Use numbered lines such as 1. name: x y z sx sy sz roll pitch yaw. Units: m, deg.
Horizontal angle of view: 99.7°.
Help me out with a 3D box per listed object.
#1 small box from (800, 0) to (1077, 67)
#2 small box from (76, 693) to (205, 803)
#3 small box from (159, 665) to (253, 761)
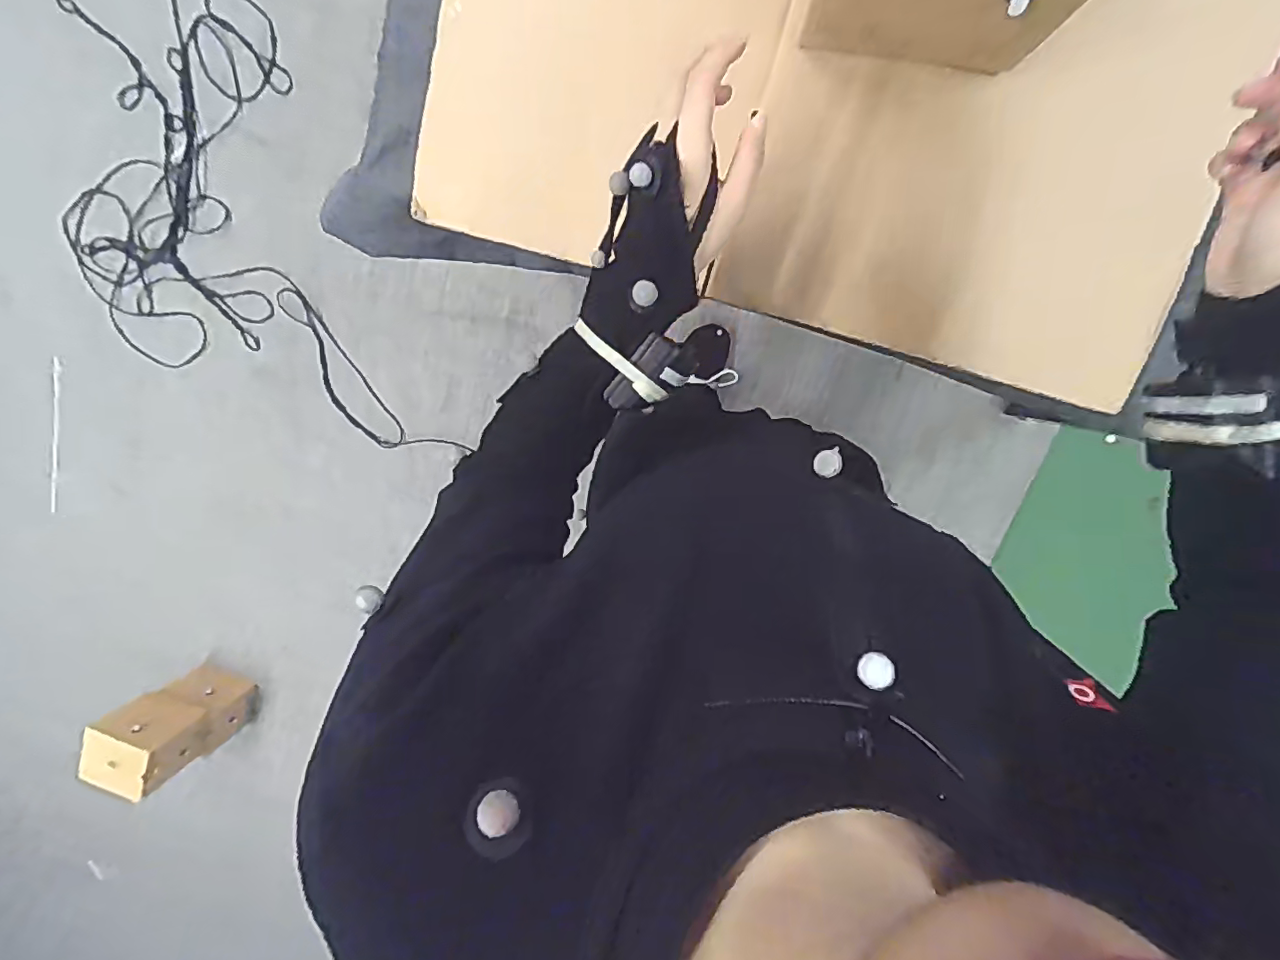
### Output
1. small box: 0.219 -0.404 0.344 0.179 0.176 0.168 9 99 3
2. small box: -1.310 0.695 1.426 0.179 0.176 0.168 22 103 0
3. small box: -1.285 0.676 1.587 0.179 0.176 0.168 22 103 0
